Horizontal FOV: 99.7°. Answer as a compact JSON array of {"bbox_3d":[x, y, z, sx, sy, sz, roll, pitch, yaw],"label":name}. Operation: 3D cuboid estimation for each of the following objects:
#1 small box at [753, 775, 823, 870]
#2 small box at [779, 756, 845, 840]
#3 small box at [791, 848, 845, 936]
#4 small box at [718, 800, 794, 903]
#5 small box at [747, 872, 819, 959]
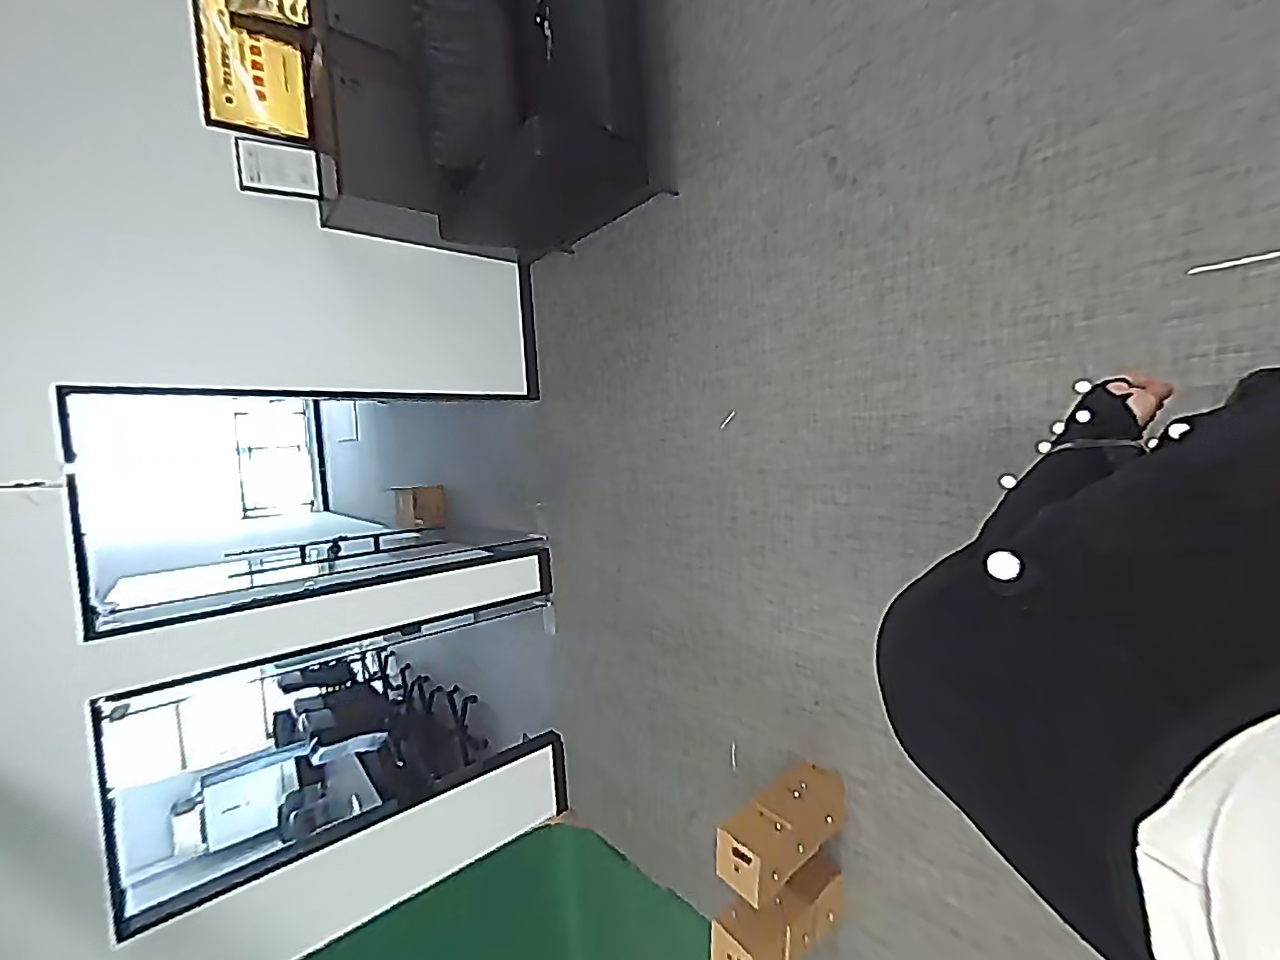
[{"bbox_3d":[0.493,1.136,1.806,0.168,0.176,0.179,8,100,50],"label":"small box"},{"bbox_3d":[0.612,1.124,1.918,0.168,0.176,0.179,5,99,50],"label":"small box"},{"bbox_3d":[0.618,1.467,1.951,0.179,0.176,0.168,8,101,51],"label":"small box"},{"bbox_3d":[0.367,1.157,1.703,0.168,0.176,0.179,11,104,49],"label":"small box"},{"bbox_3d":[0.489,1.474,1.846,0.179,0.176,0.168,10,102,50],"label":"small box"}]
